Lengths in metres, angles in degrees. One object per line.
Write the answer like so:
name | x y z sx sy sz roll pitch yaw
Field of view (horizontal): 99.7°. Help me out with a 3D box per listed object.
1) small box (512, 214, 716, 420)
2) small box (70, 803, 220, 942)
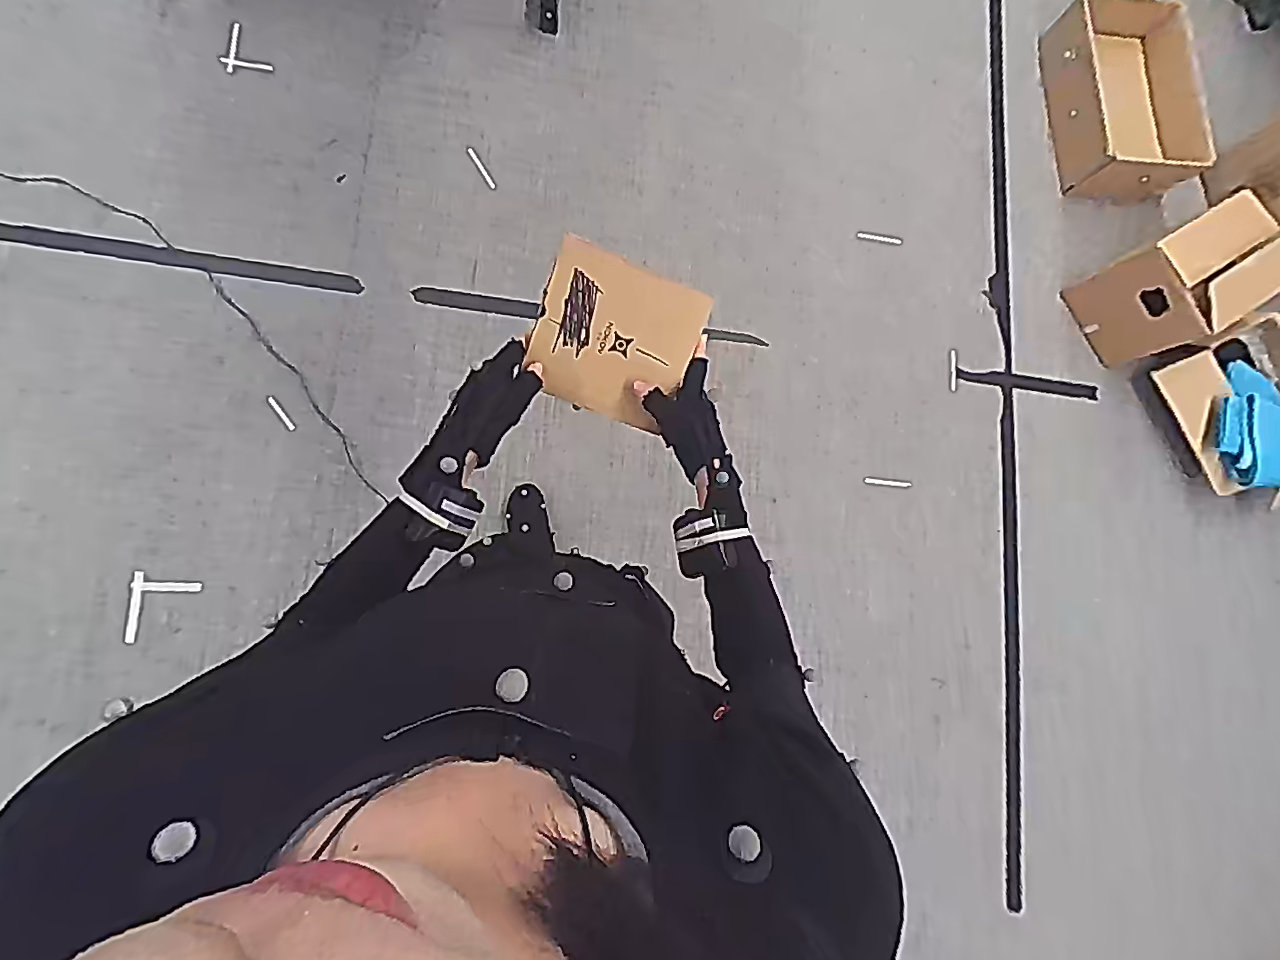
small box | -0.034 -0.191 0.653 0.179 0.176 0.168 20 106 -10
small box | -1.094 0.862 1.207 0.179 0.176 0.168 -13 85 -10
